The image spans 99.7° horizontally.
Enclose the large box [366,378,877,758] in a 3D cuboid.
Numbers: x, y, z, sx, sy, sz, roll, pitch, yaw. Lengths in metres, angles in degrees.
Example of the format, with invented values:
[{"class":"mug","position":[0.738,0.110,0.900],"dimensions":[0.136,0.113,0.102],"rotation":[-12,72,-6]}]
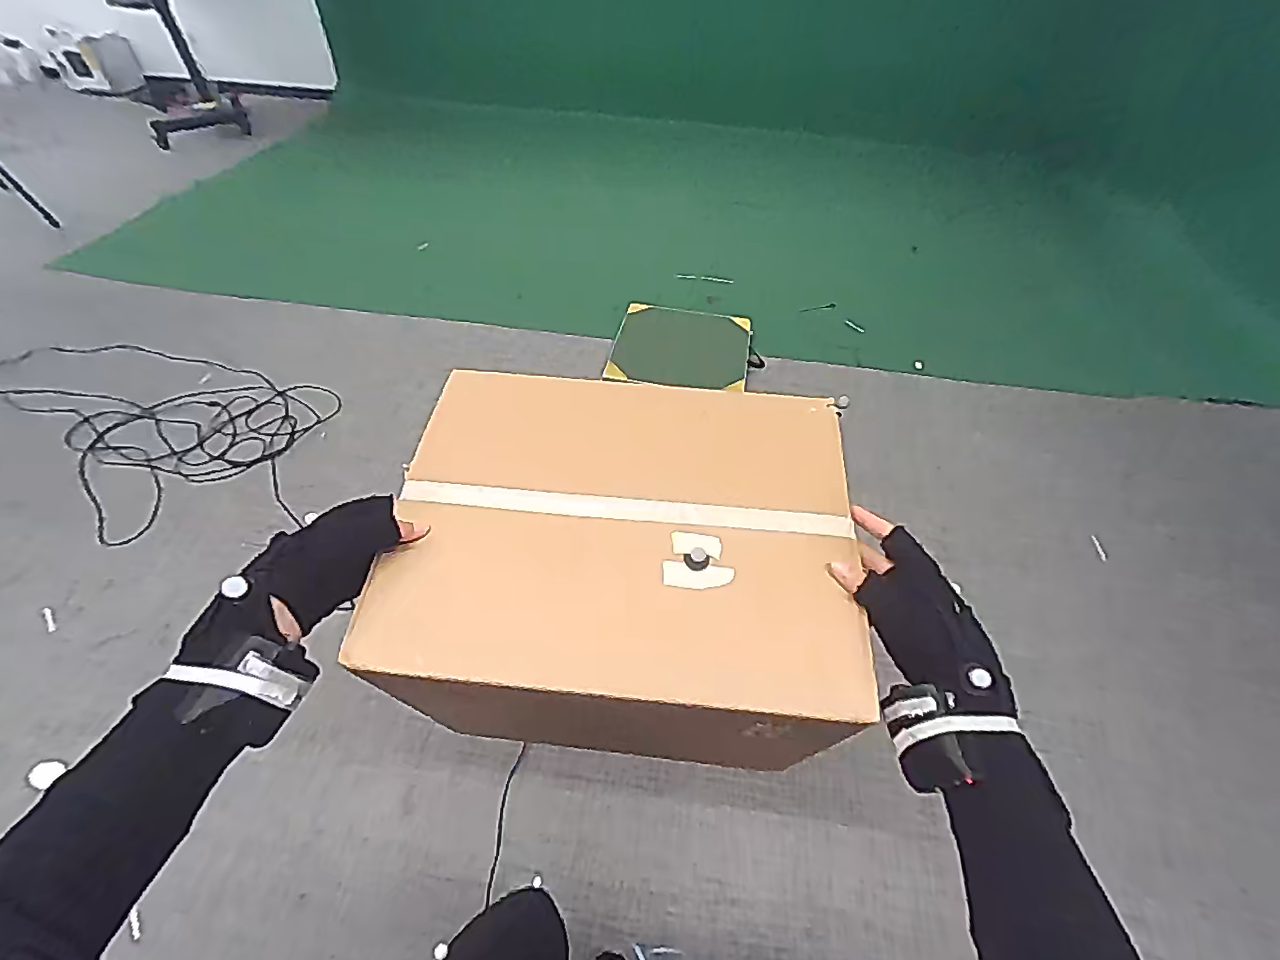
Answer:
[{"class":"large box","position":[-0.010,0.112,0.618],"dimensions":[0.408,0.320,0.320],"rotation":[5,57,2]}]
